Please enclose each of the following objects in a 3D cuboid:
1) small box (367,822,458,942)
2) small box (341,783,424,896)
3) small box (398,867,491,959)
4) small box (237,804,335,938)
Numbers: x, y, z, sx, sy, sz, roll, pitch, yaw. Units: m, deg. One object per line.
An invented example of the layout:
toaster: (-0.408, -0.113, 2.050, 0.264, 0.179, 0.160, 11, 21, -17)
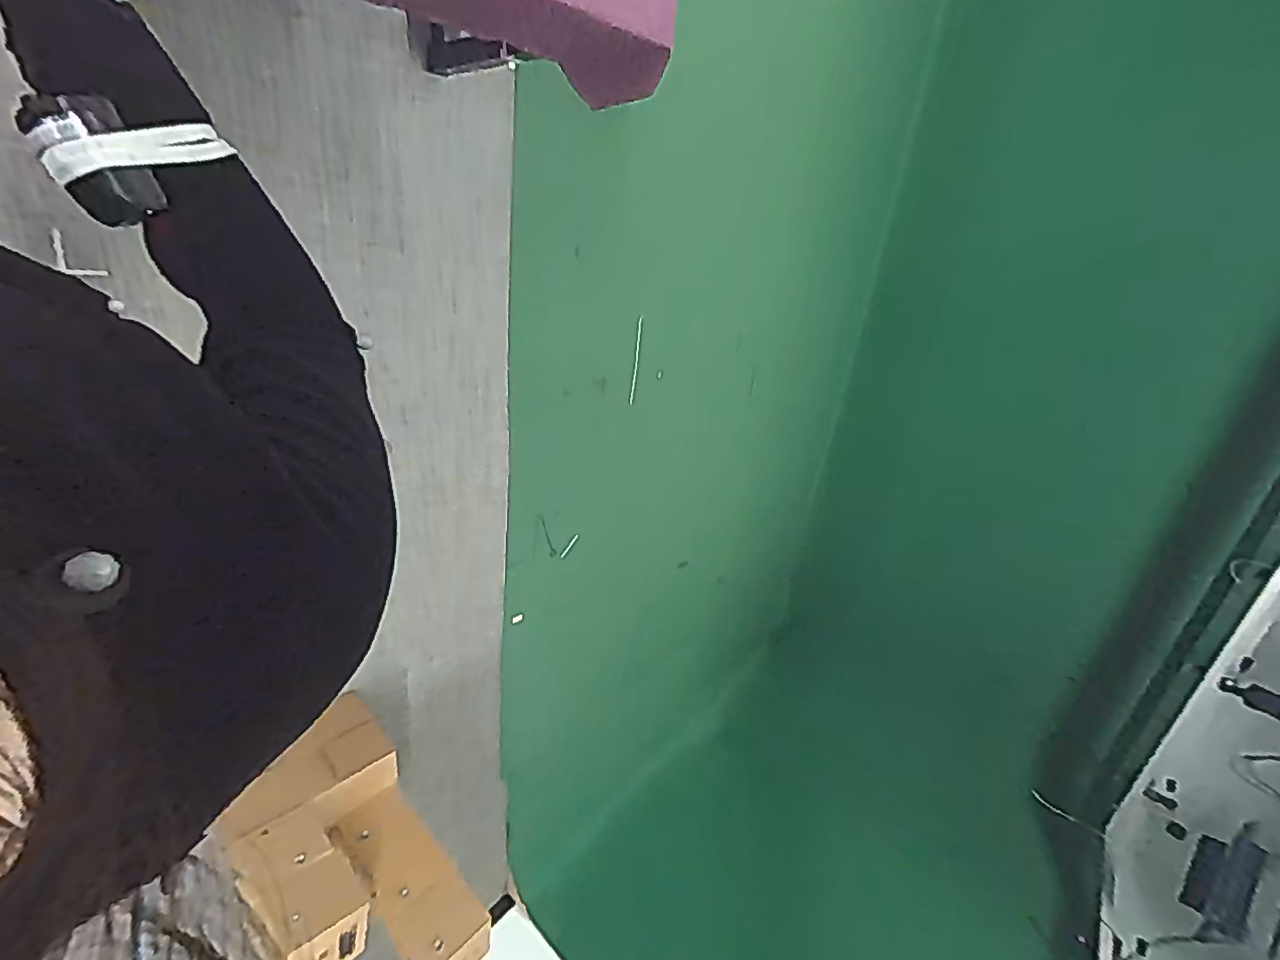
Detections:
small box: (-0.626, 1.102, 1.495, 0.179, 0.176, 0.168, -20, 128, -44)
small box: (-0.751, 1.041, 1.579, 0.179, 0.176, 0.168, -23, 129, -45)
small box: (-0.510, 1.170, 1.399, 0.179, 0.176, 0.168, -19, 128, -46)
small box: (-0.883, 0.965, 1.352, 0.168, 0.176, 0.179, -14, 122, -48)
